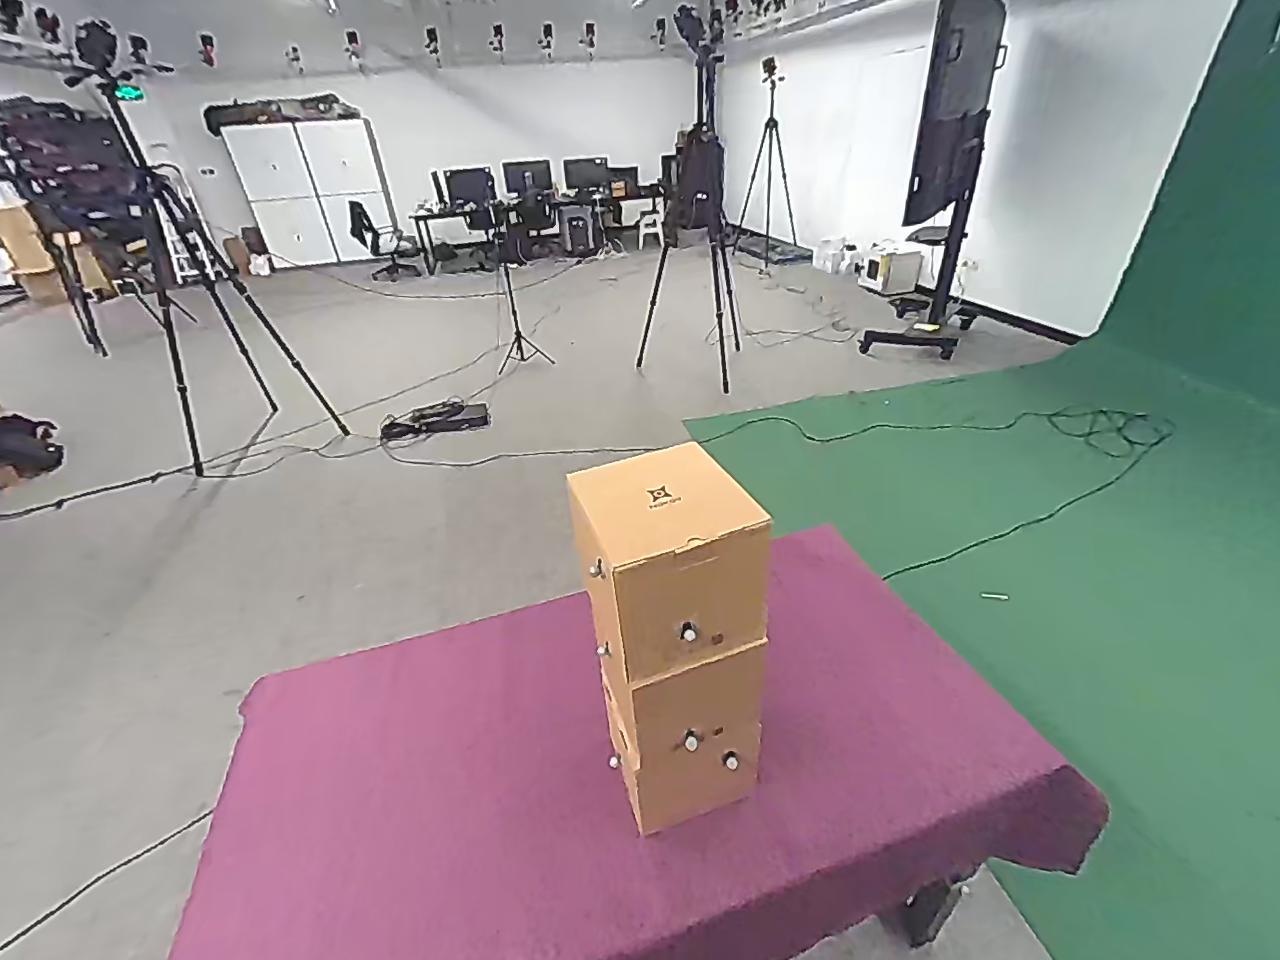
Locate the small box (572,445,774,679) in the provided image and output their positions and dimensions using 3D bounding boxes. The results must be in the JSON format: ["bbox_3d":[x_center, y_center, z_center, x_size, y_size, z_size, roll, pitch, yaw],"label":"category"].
[{"bbox_3d":[0.030,0.087,0.614,0.168,0.176,0.179,-16,36,-15],"label":"small box"}]

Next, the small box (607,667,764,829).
[{"bbox_3d":[0.060,0.362,0.786,0.179,0.176,0.168,-13,34,-13],"label":"small box"}]

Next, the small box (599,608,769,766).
[{"bbox_3d":[0.047,0.224,0.699,0.168,0.176,0.179,-15,35,-13],"label":"small box"}]
